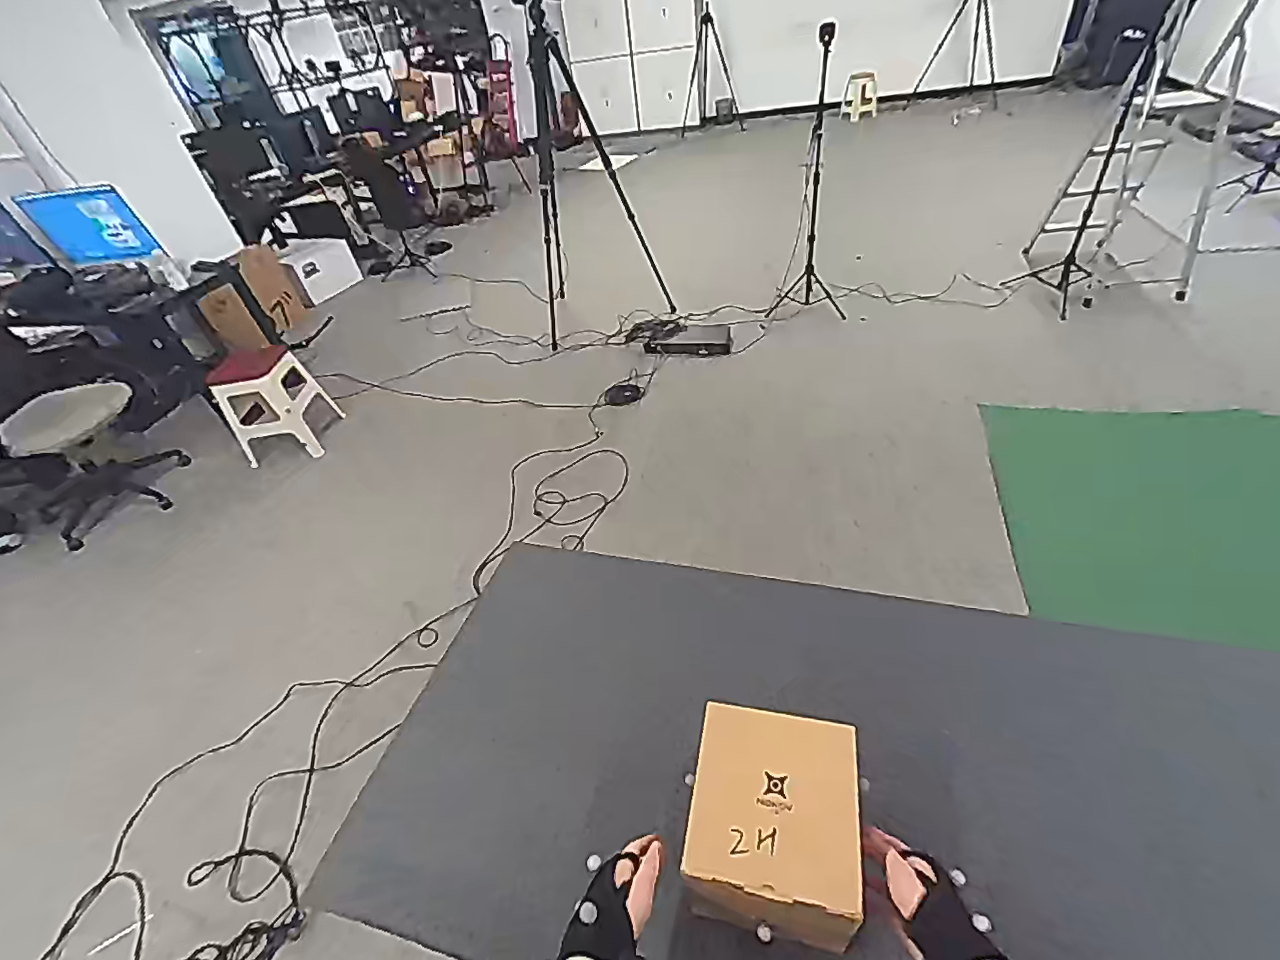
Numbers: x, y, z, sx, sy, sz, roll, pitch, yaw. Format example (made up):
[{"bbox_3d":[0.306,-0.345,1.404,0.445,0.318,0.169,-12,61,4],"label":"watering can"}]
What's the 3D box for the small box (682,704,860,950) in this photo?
[{"bbox_3d":[0.148,0.388,0.612,0.168,0.176,0.179,4,43,15],"label":"small box"}]
